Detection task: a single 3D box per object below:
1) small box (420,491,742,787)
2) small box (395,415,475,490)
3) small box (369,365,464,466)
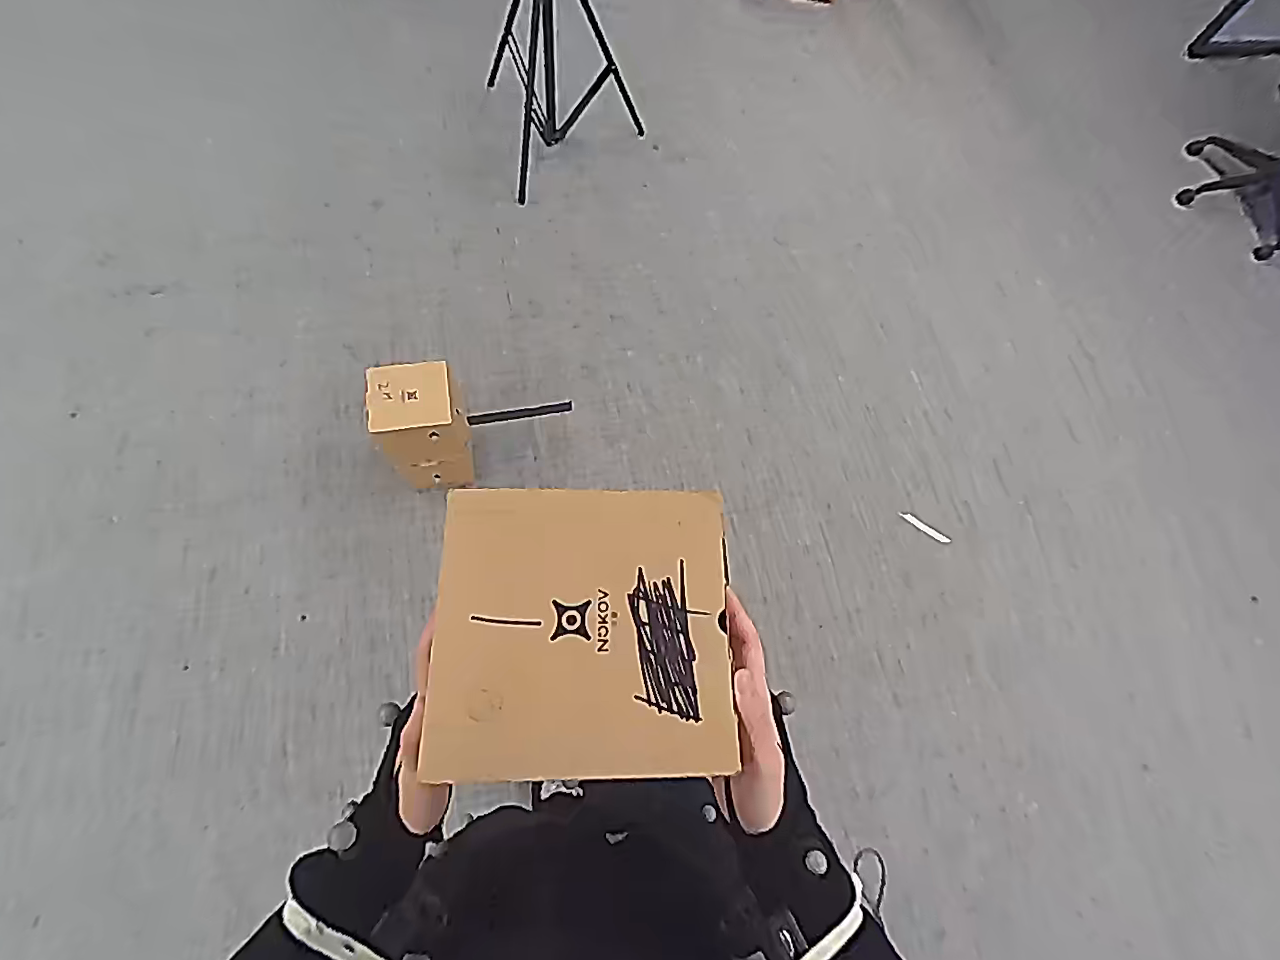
[{"bbox_3d":[-0.037,0.113,0.391,0.179,0.176,0.168,1,70,-5],"label":"small box"},{"bbox_3d":[-0.535,-0.082,1.416,0.168,0.176,0.179,-8,70,-10],"label":"small box"},{"bbox_3d":[-0.515,-0.147,1.264,0.179,0.176,0.168,-9,68,-10],"label":"small box"}]
